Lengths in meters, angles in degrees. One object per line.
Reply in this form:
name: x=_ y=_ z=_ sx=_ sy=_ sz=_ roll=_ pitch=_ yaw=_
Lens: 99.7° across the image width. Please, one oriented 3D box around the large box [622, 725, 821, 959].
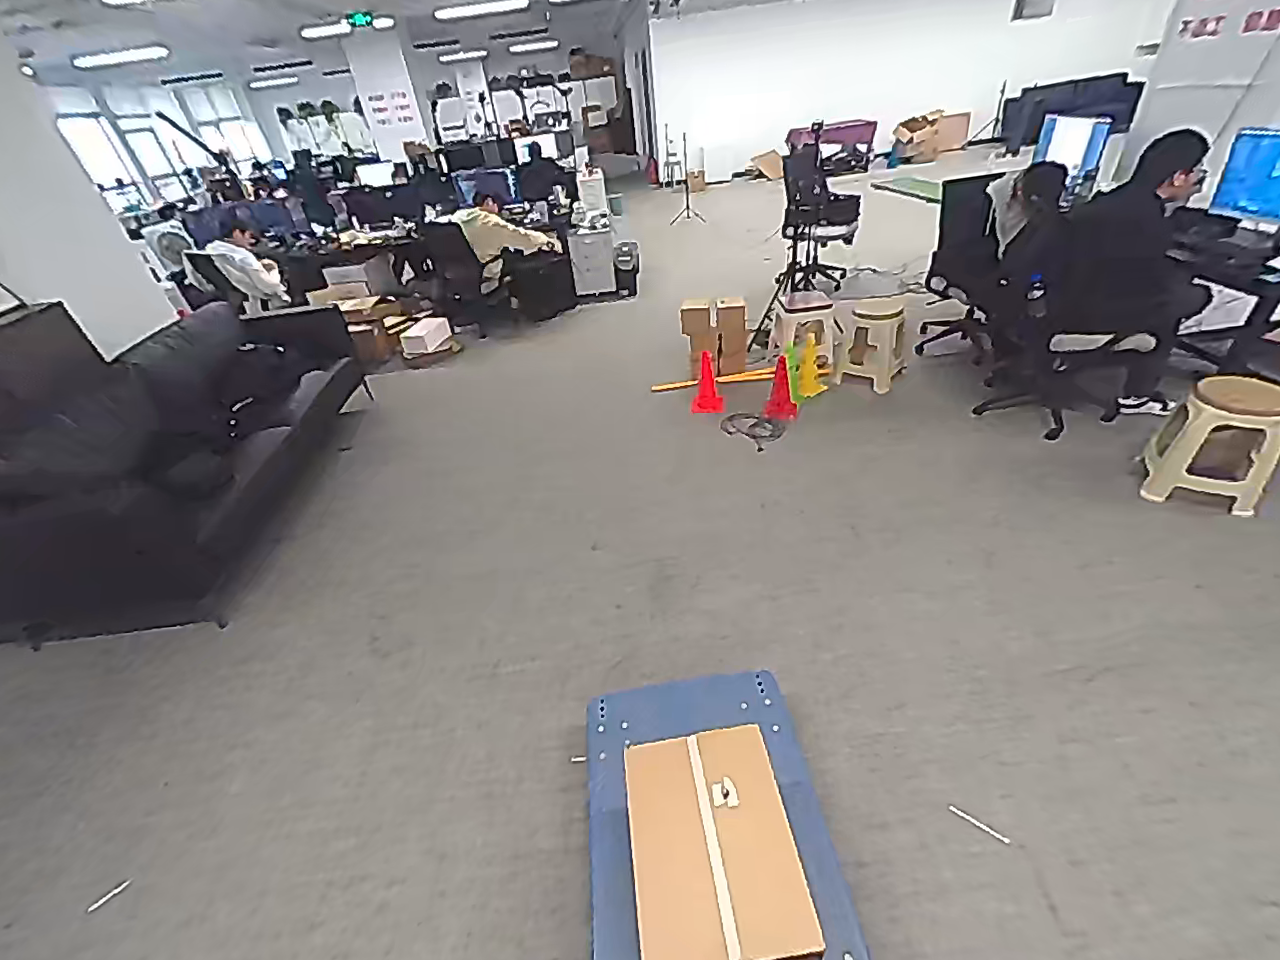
large box: x=0.155 y=0.819 z=1.156 sx=0.320 sy=0.320 sz=0.408 roll=-9 pitch=36 yaw=-1
